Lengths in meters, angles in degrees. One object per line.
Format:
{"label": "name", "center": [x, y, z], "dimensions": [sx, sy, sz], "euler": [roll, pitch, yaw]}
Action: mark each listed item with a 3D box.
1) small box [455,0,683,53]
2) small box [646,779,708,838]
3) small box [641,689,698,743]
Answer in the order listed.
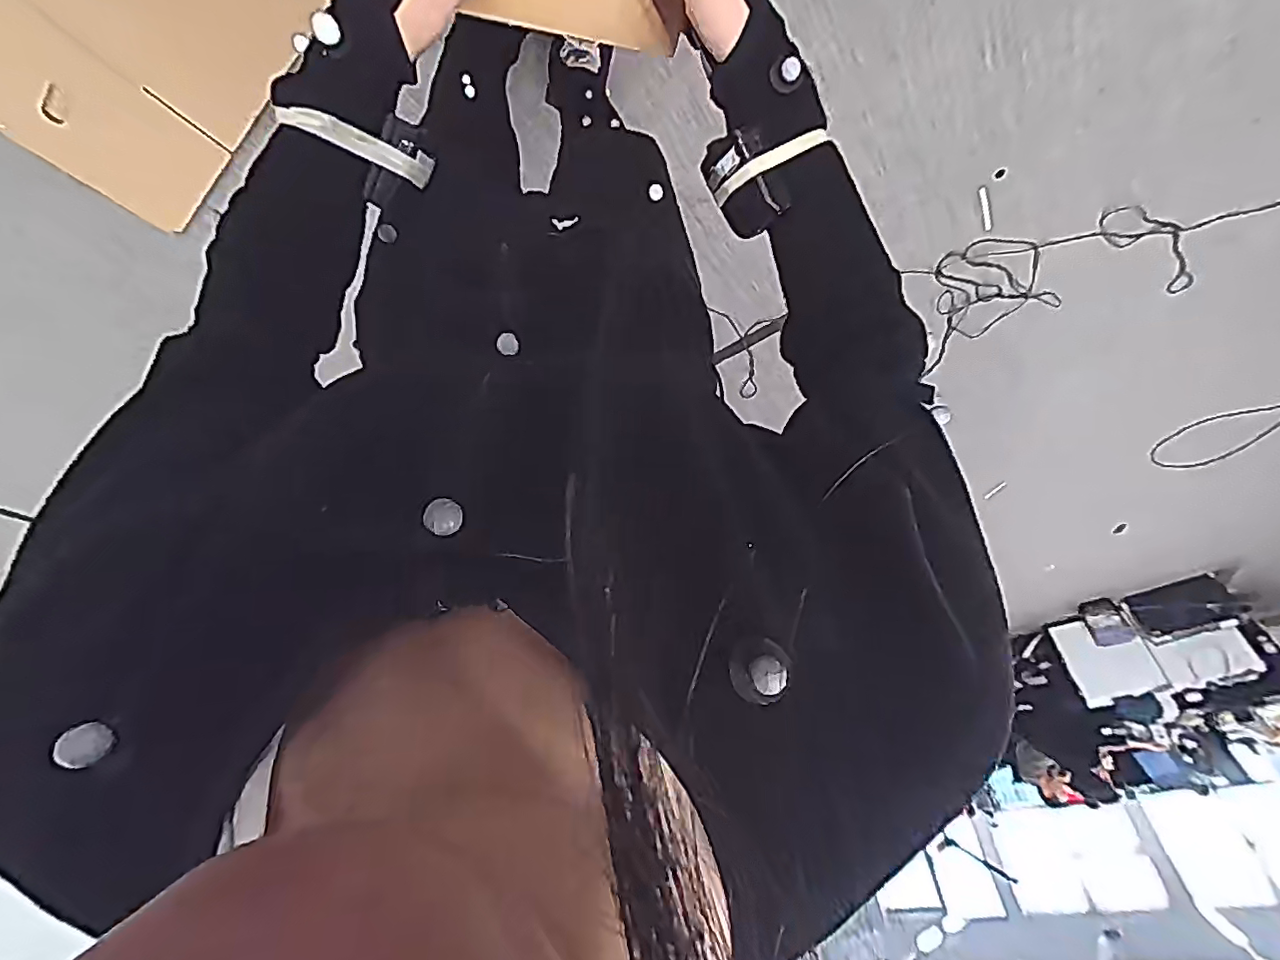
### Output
{"label": "small box", "center": [-0.044, -0.445, 0.367], "dimensions": [0.168, 0.176, 0.179], "euler": [0, 149, -15]}
{"label": "small box", "center": [0.134, 1.240, 2.037], "dimensions": [0.179, 0.176, 0.168], "euler": [-25, 140, 24]}
{"label": "small box", "center": [0.116, 0.971, 2.227], "dimensions": [0.179, 0.176, 0.168], "euler": [-24, 140, 25]}
